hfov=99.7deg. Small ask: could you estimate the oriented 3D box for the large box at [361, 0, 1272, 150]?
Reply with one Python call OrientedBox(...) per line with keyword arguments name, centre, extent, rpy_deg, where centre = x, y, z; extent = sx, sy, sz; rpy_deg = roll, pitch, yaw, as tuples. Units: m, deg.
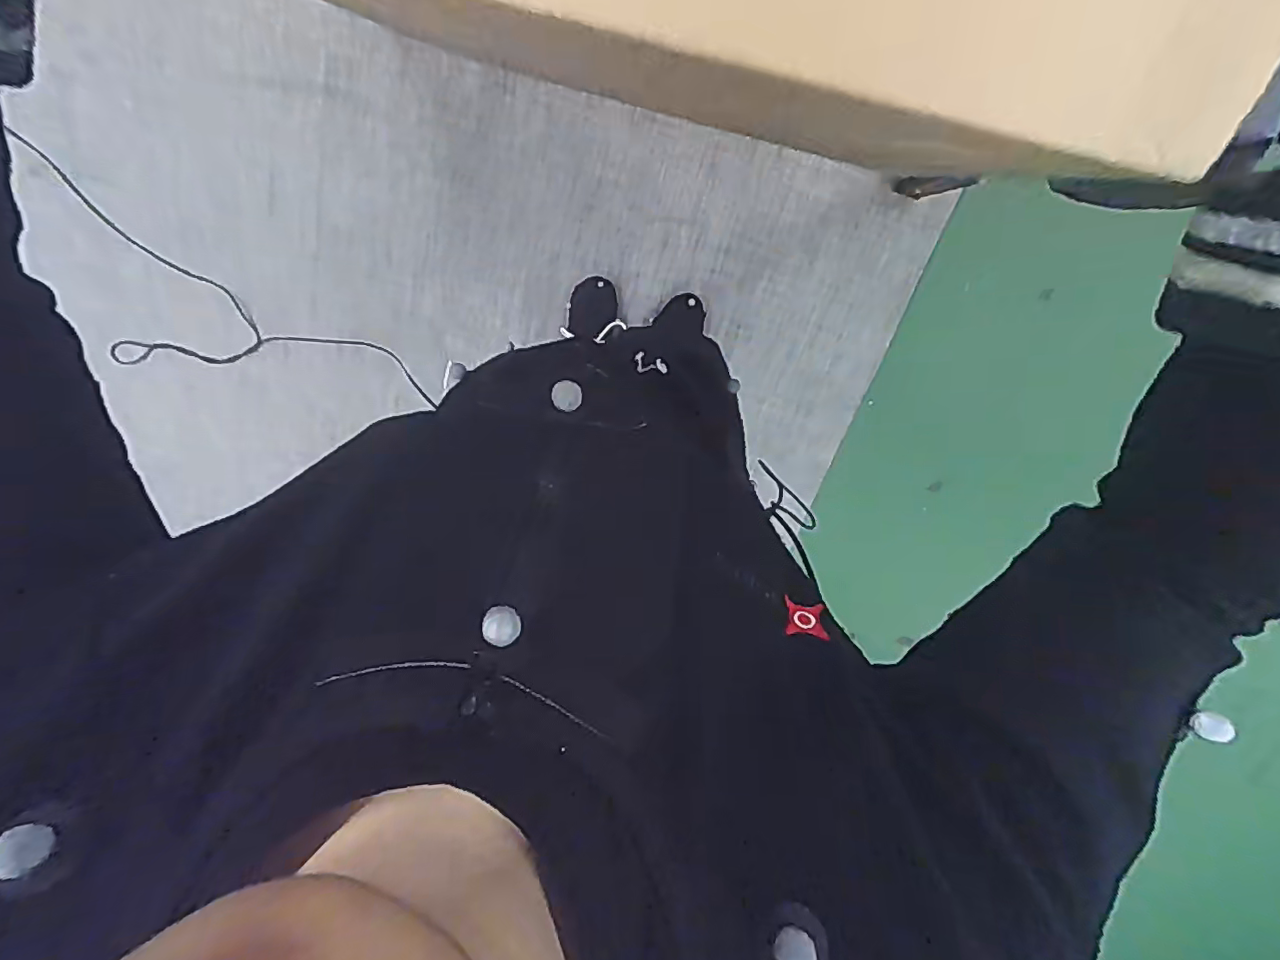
OrientedBox(name="large box", centre=(0.047, -0.372, 0.244), extent=(0.408, 0.320, 0.320), rpy_deg=(12, 120, -2))
